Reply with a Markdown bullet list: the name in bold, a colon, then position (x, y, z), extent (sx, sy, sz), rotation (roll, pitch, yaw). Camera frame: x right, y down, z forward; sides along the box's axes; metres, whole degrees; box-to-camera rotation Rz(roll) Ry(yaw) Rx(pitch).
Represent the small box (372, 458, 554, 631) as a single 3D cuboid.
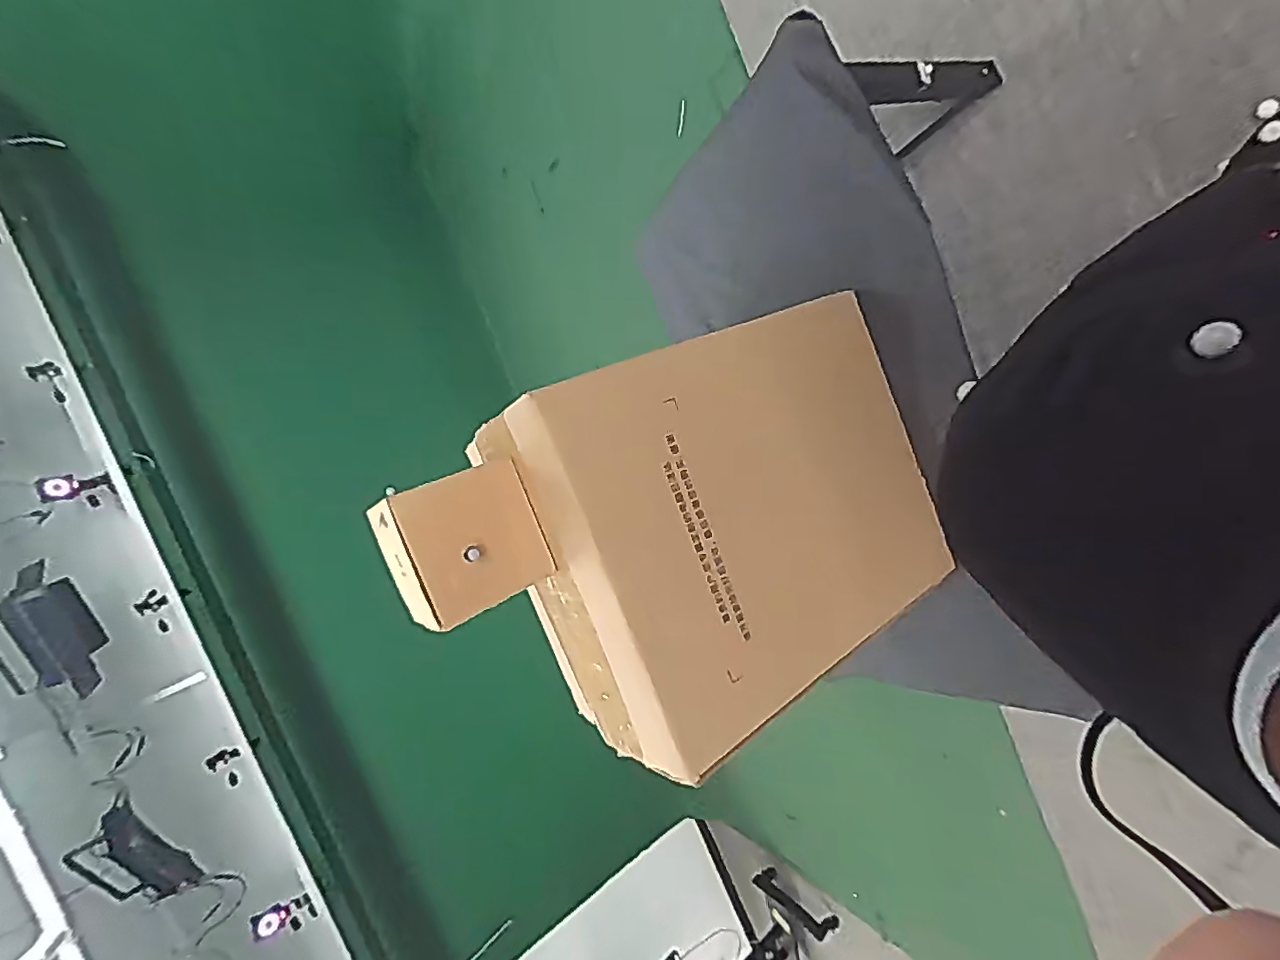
- **small box**: position (-0.245, 0.086, 0.756), extent (0.168, 0.176, 0.179), rotation (-15, 98, 55)
